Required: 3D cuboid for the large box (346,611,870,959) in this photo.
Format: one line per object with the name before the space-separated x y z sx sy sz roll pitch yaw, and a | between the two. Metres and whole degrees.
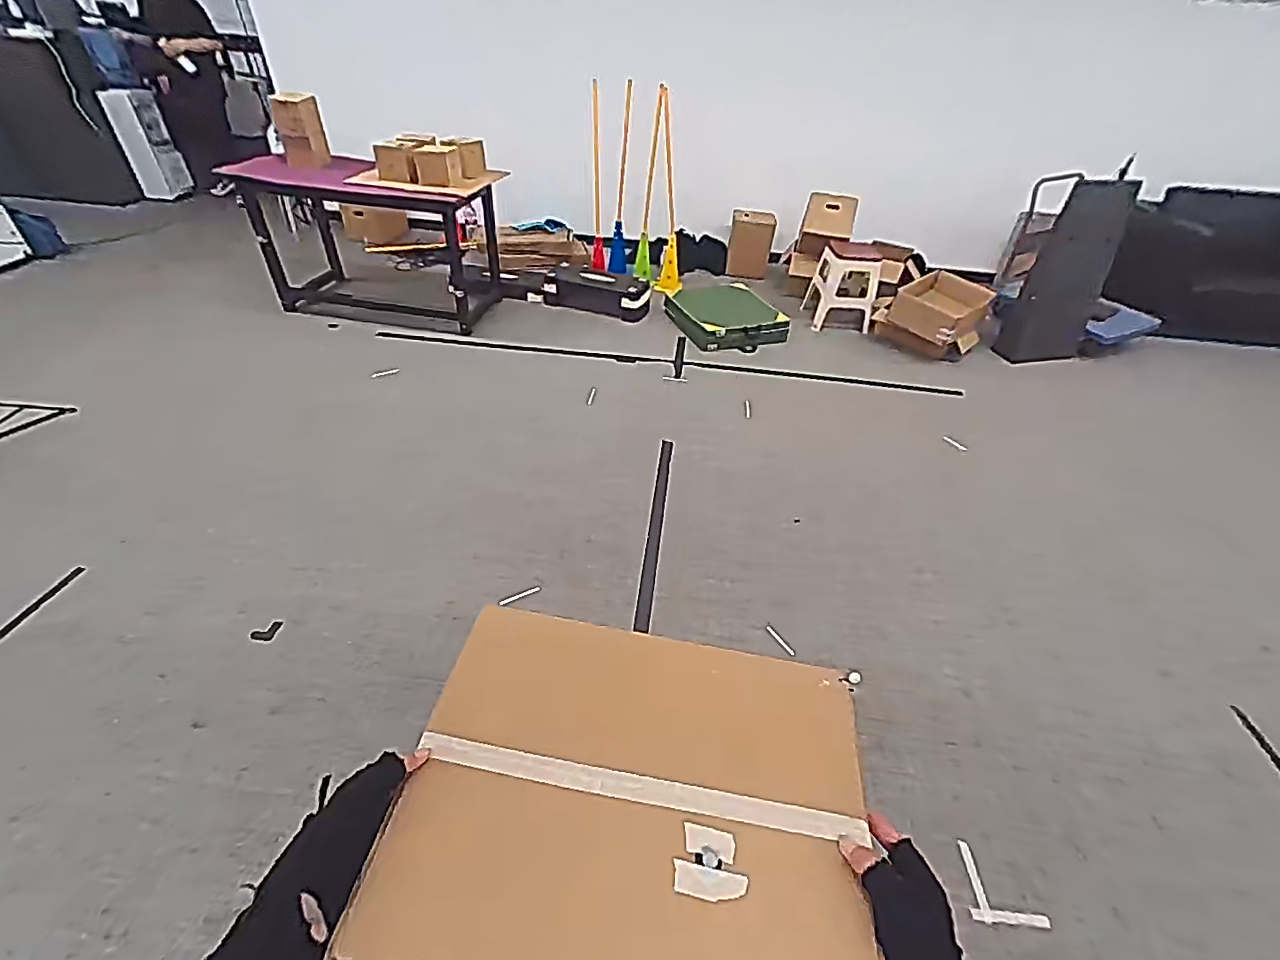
large box | -0.016 0.390 0.595 0.408 0.320 0.320 10 43 4
